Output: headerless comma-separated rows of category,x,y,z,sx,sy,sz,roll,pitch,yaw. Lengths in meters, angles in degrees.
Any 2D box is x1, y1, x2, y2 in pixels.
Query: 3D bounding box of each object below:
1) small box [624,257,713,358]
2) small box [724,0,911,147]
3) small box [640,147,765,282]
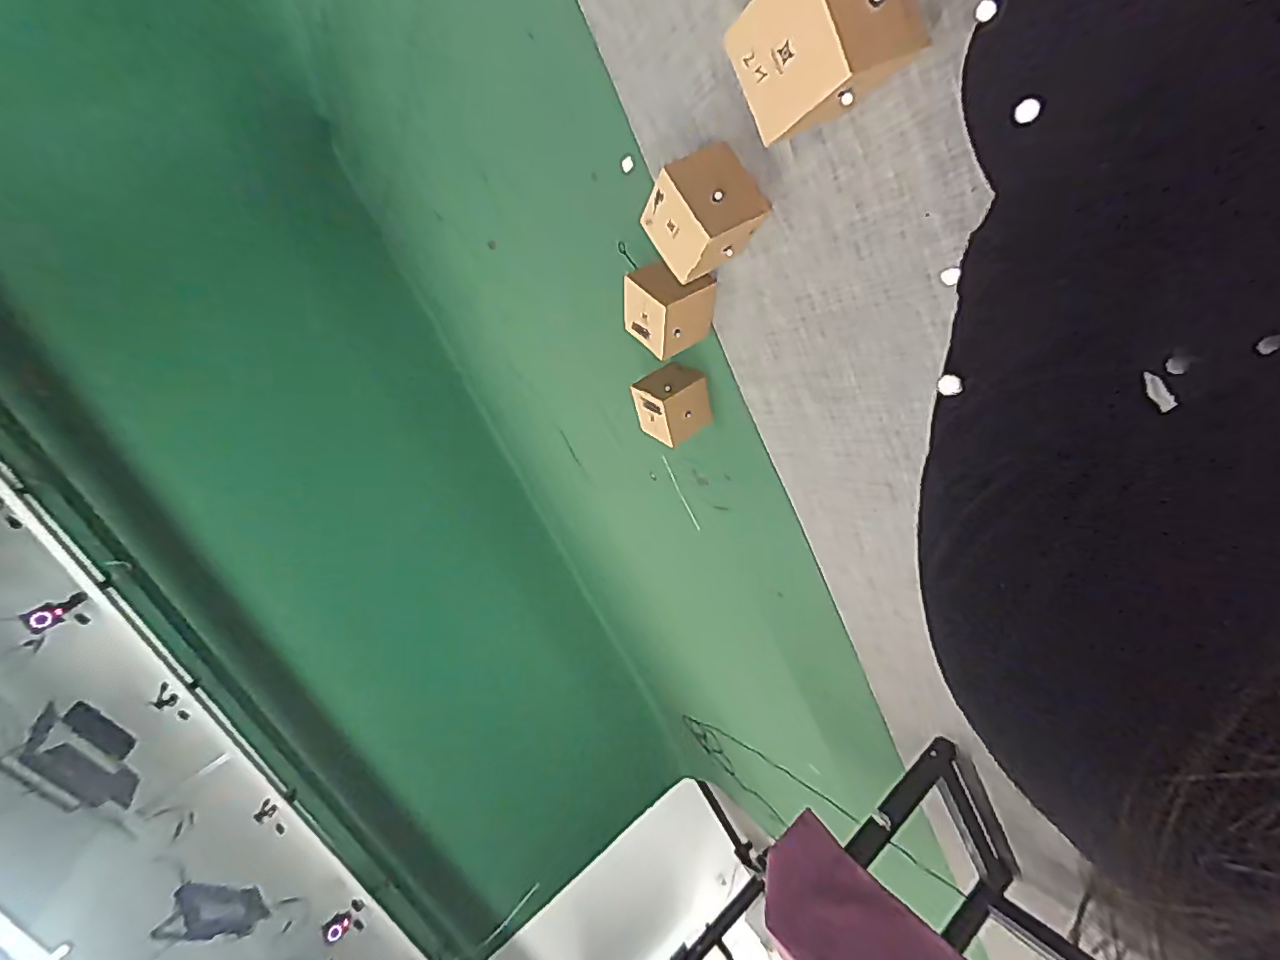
small box,0.073,-0.464,1.429,0.168,0.176,0.179,47,156,26
small box,0.261,-0.631,0.782,0.168,0.176,0.179,63,158,-14
small box,0.133,-0.566,1.154,0.179,0.176,0.168,56,159,1
